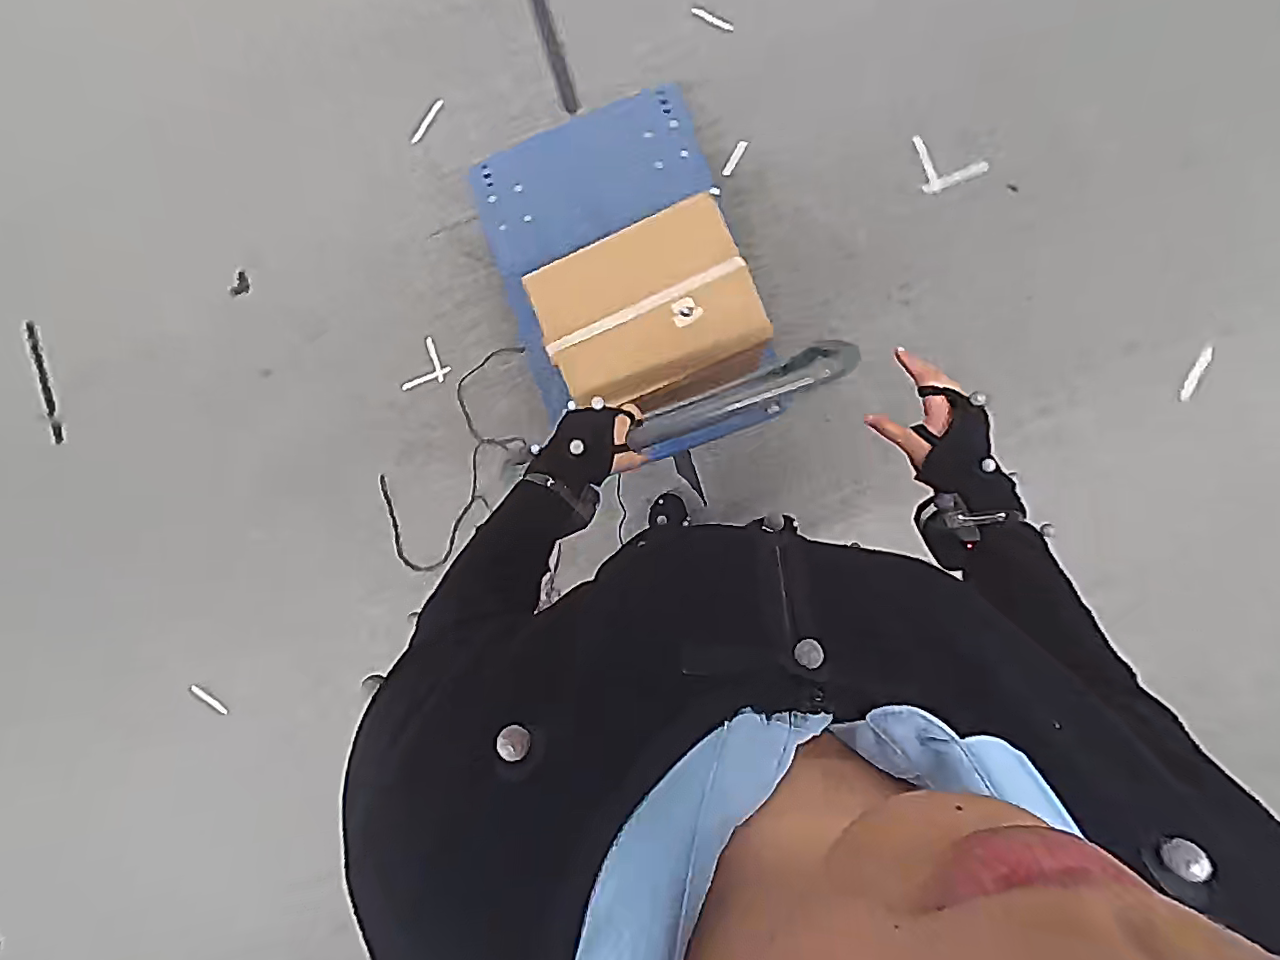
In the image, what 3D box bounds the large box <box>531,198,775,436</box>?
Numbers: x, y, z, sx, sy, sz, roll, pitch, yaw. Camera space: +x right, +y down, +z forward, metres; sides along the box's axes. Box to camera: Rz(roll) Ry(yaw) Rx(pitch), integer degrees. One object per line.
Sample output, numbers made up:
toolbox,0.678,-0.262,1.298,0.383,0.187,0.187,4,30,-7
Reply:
large box,0.032,-0.326,1.200,0.408,0.320,0.320,-23,88,4
